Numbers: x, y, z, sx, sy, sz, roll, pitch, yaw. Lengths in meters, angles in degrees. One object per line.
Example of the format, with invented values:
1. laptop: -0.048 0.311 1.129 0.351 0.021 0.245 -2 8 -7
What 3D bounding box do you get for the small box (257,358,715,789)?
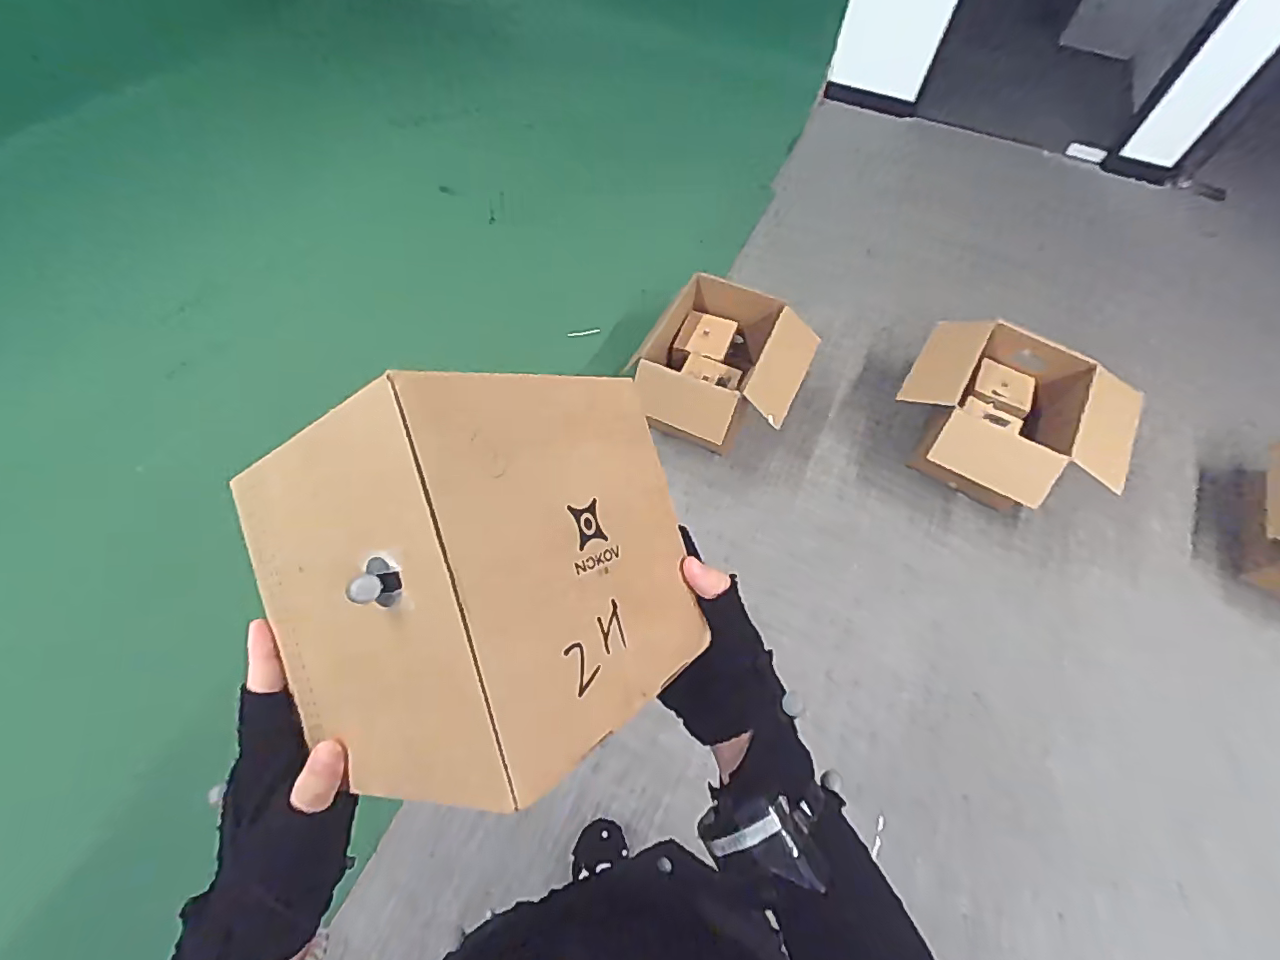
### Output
1. small box: -0.085 0.046 0.314 0.168 0.176 0.179 -14 87 -56
